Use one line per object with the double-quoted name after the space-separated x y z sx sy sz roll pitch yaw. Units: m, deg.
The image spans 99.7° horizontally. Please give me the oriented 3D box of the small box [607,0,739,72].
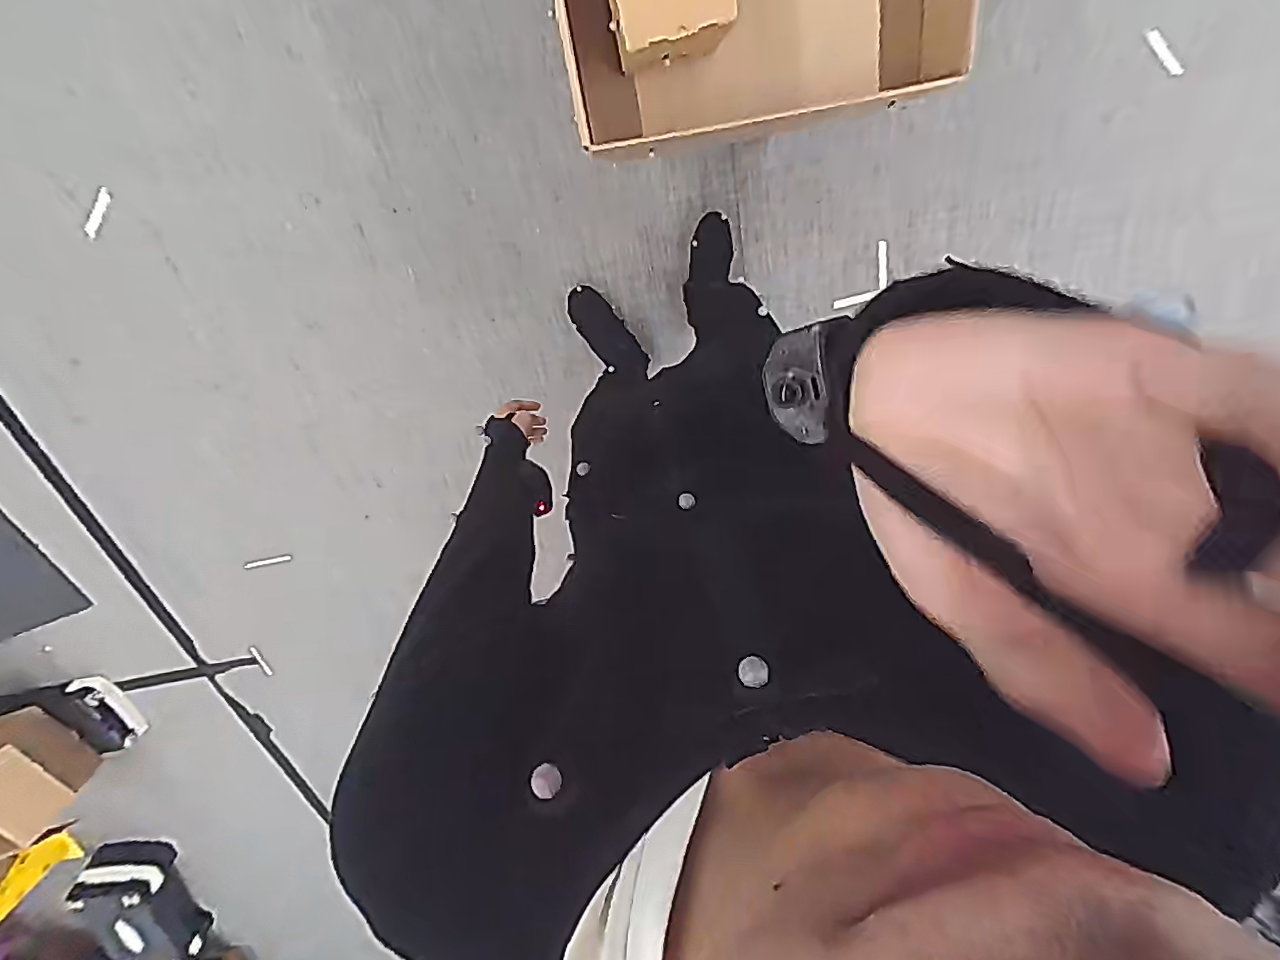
0.035 -0.743 0.797 0.168 0.176 0.179 -15 117 3 "small box"
